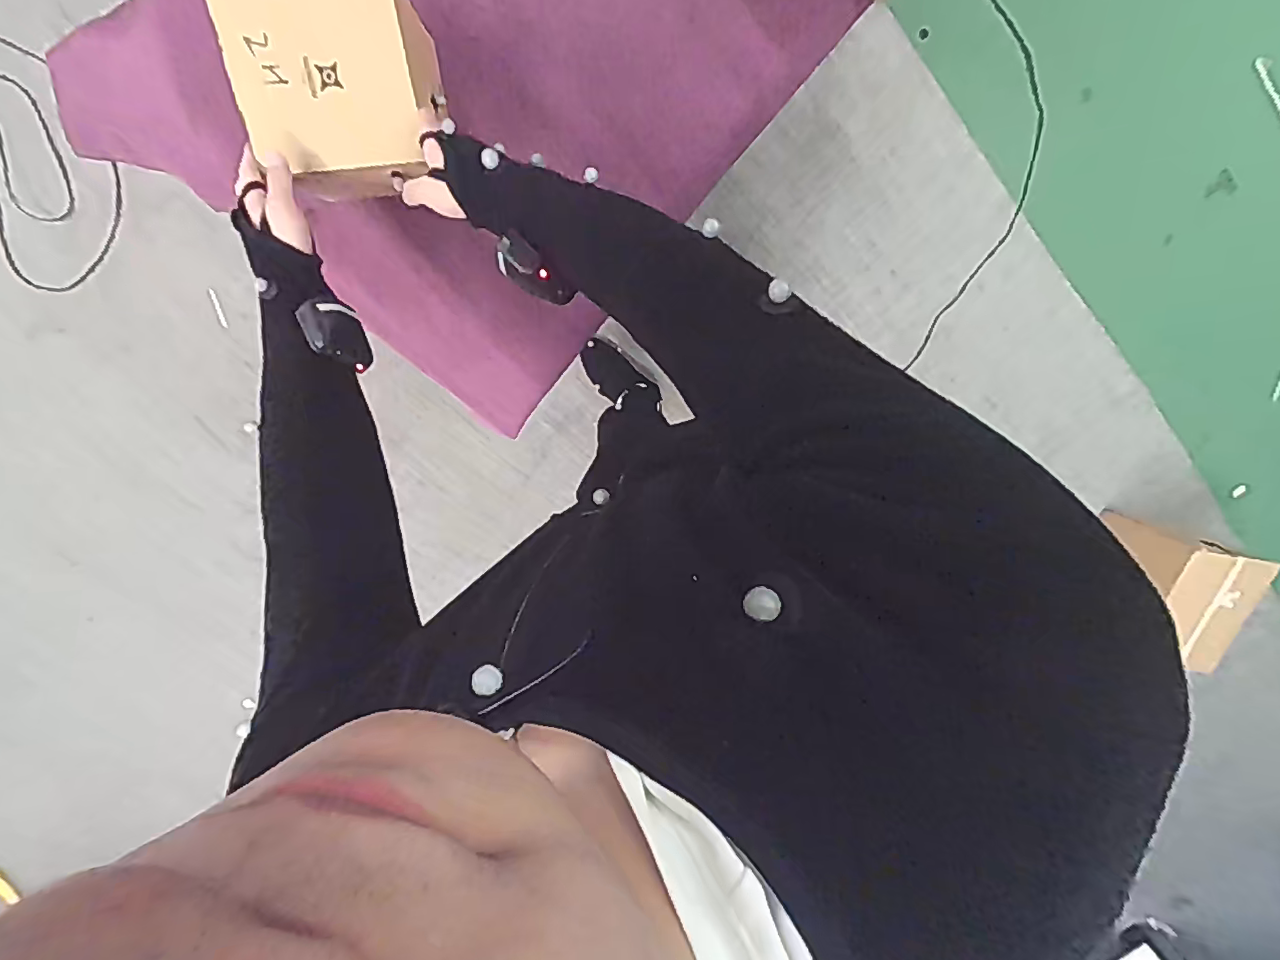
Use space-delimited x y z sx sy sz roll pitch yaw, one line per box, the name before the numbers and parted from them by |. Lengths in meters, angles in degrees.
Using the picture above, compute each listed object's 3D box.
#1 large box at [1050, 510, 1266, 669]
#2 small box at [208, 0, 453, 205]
large box | 1.687 0.357 1.802 0.320 0.320 0.408 9 107 -9
small box | -0.323 -0.421 0.614 0.179 0.176 0.168 -8 110 -4
